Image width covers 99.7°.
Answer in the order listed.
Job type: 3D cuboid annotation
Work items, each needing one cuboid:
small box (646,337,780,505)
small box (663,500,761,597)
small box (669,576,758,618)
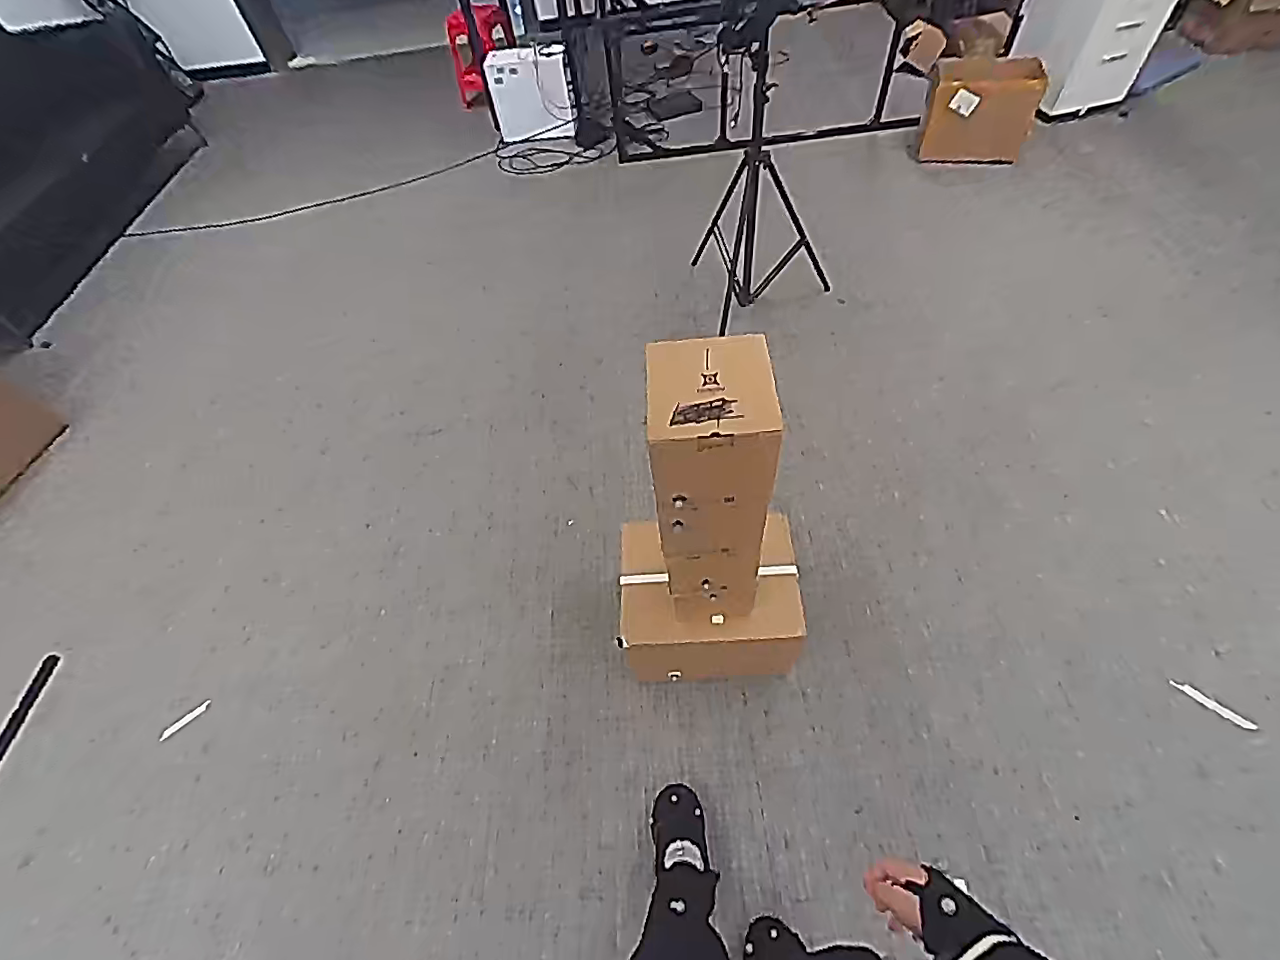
[{"bbox_3d":[0.098,-0.074,0.764,0.168,0.176,0.179,-4,55,4],"label":"small box"},{"bbox_3d":[0.130,0.107,1.036,0.168,0.176,0.179,-5,56,3],"label":"small box"},{"bbox_3d":[0.151,0.191,1.173,0.179,0.176,0.168,-6,56,2],"label":"small box"}]
